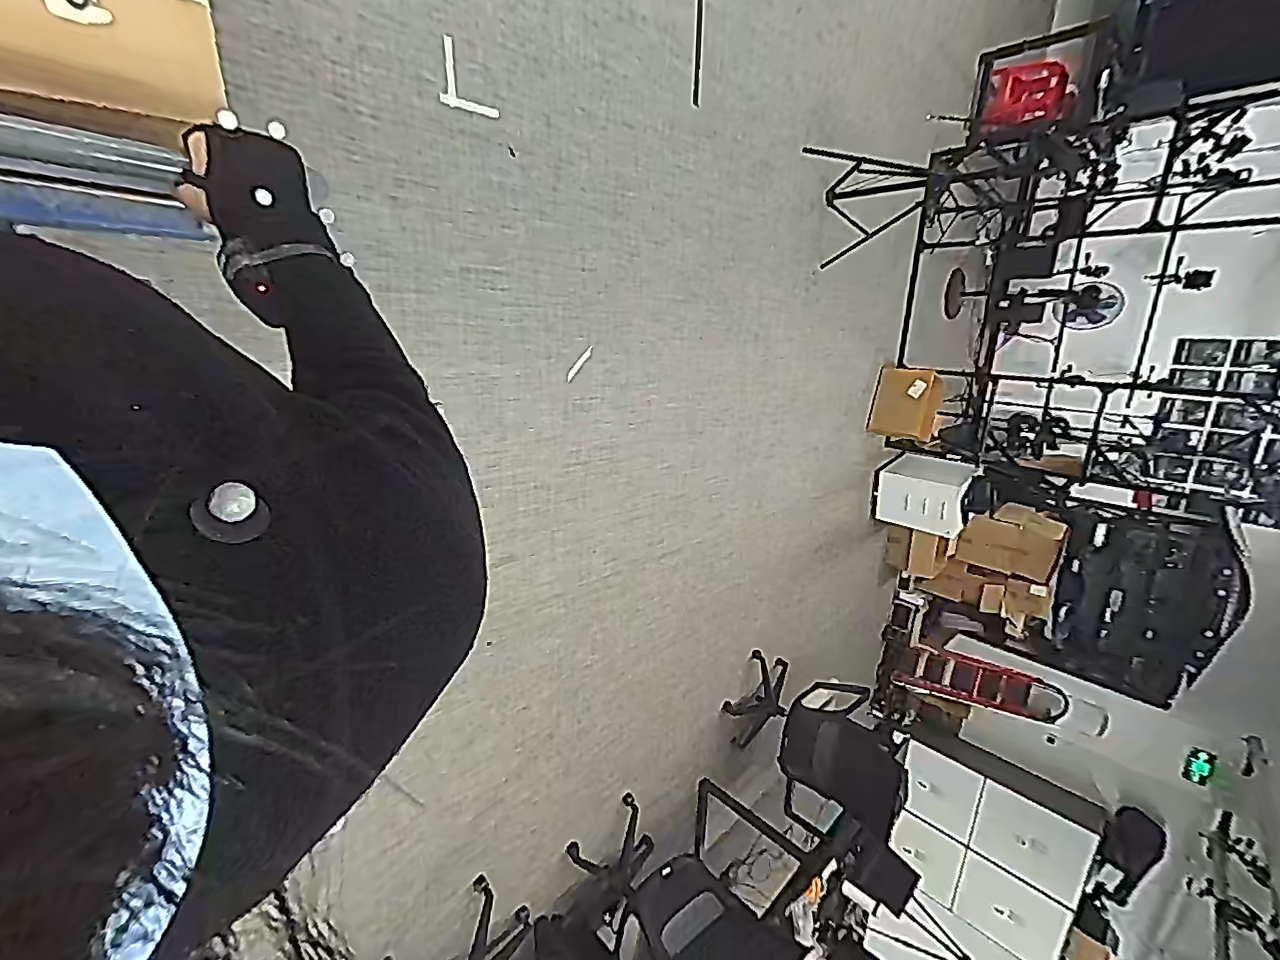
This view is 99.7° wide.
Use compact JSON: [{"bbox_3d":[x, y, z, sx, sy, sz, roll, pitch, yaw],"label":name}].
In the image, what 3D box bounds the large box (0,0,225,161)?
[{"bbox_3d":[-0.850,-0.645,0.702,0.408,0.320,0.320,-18,116,-44],"label":"large box"}]
